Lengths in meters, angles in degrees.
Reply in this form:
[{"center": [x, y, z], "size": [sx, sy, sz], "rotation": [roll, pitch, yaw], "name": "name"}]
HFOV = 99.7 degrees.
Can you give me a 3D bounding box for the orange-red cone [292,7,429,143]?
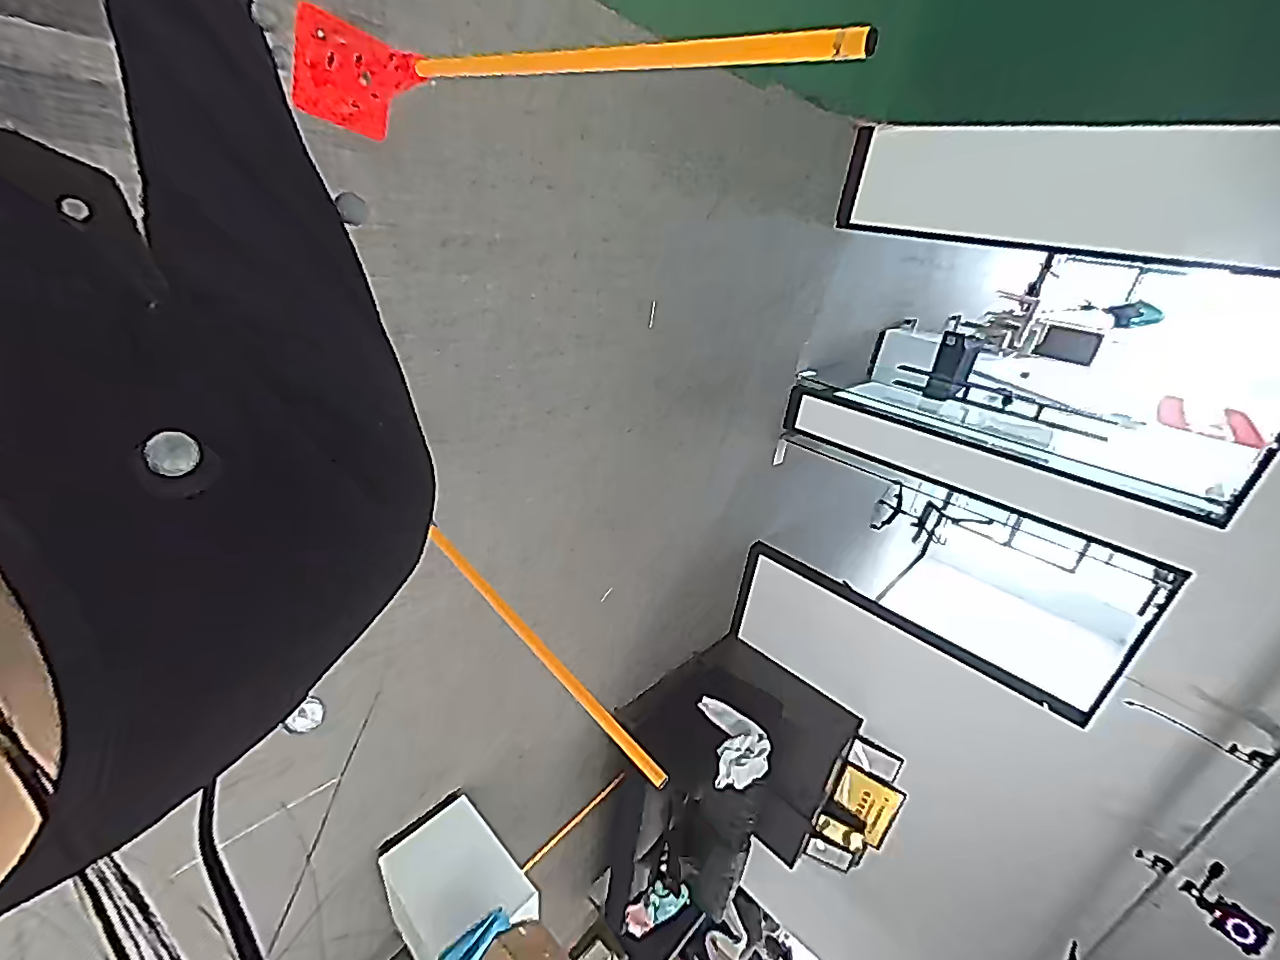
[{"center": [-0.531, -0.821, 1.098], "size": [0.198, 0.360, 0.199], "rotation": [-4, 116, -50], "name": "orange-red cone"}]
